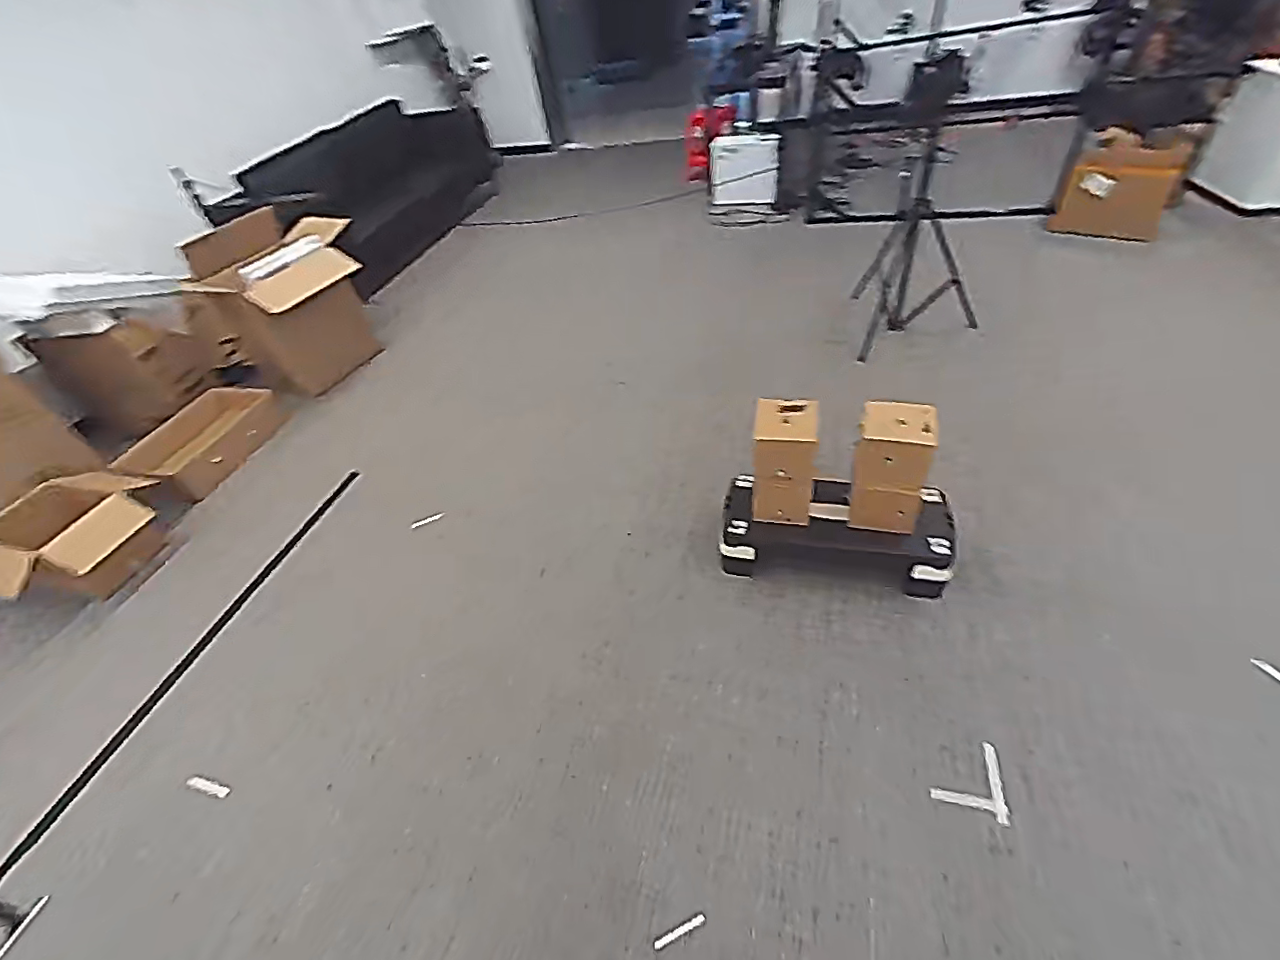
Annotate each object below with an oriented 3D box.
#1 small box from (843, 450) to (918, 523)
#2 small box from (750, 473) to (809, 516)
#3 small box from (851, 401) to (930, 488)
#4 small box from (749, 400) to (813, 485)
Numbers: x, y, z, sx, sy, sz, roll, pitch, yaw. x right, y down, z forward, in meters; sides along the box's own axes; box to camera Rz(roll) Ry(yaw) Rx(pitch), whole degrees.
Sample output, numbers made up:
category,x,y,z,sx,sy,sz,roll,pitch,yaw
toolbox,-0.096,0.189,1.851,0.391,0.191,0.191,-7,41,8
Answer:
category,x,y,z,sx,sy,sz,roll,pitch,yaw
small box,0.694,0.032,1.579,0.179,0.176,0.168,5,45,16
small box,0.425,0.011,1.654,0.168,0.176,0.179,4,46,16
small box,0.679,-0.096,1.479,0.179,0.176,0.168,6,47,19
small box,0.401,-0.109,1.544,0.168,0.176,0.179,3,46,14
